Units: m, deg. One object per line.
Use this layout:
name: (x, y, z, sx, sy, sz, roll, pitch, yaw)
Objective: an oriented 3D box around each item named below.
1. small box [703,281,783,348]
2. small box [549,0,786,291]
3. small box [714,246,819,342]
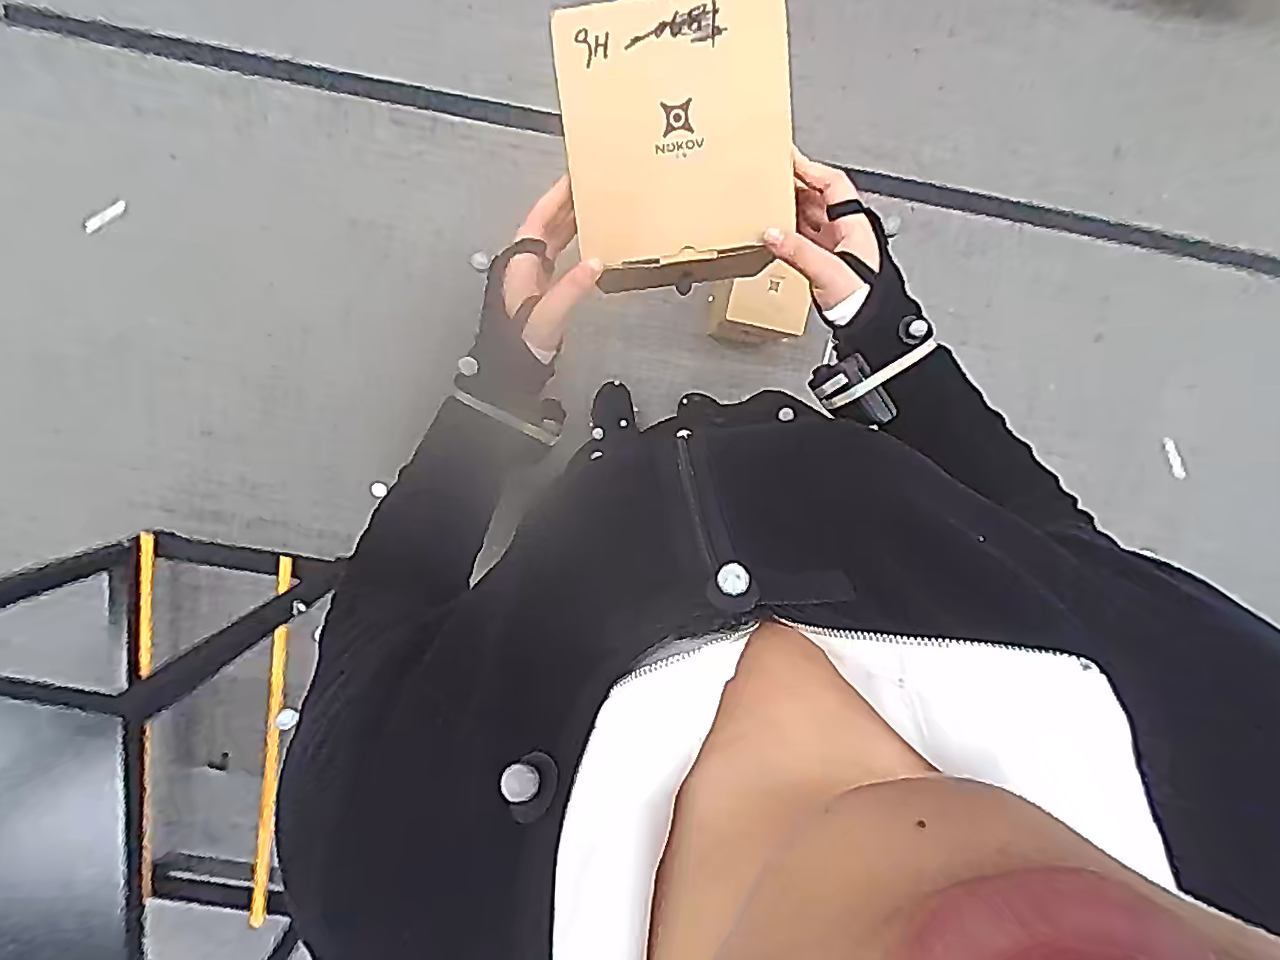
small box: (0.266, -0.427, 1.344, 0.179, 0.176, 0.168, 10, 101, -3)
small box: (0.028, -0.269, 0.481, 0.168, 0.176, 0.179, -7, 104, 4)
small box: (0.265, -0.407, 1.182, 0.168, 0.176, 0.179, 12, 102, -2)
